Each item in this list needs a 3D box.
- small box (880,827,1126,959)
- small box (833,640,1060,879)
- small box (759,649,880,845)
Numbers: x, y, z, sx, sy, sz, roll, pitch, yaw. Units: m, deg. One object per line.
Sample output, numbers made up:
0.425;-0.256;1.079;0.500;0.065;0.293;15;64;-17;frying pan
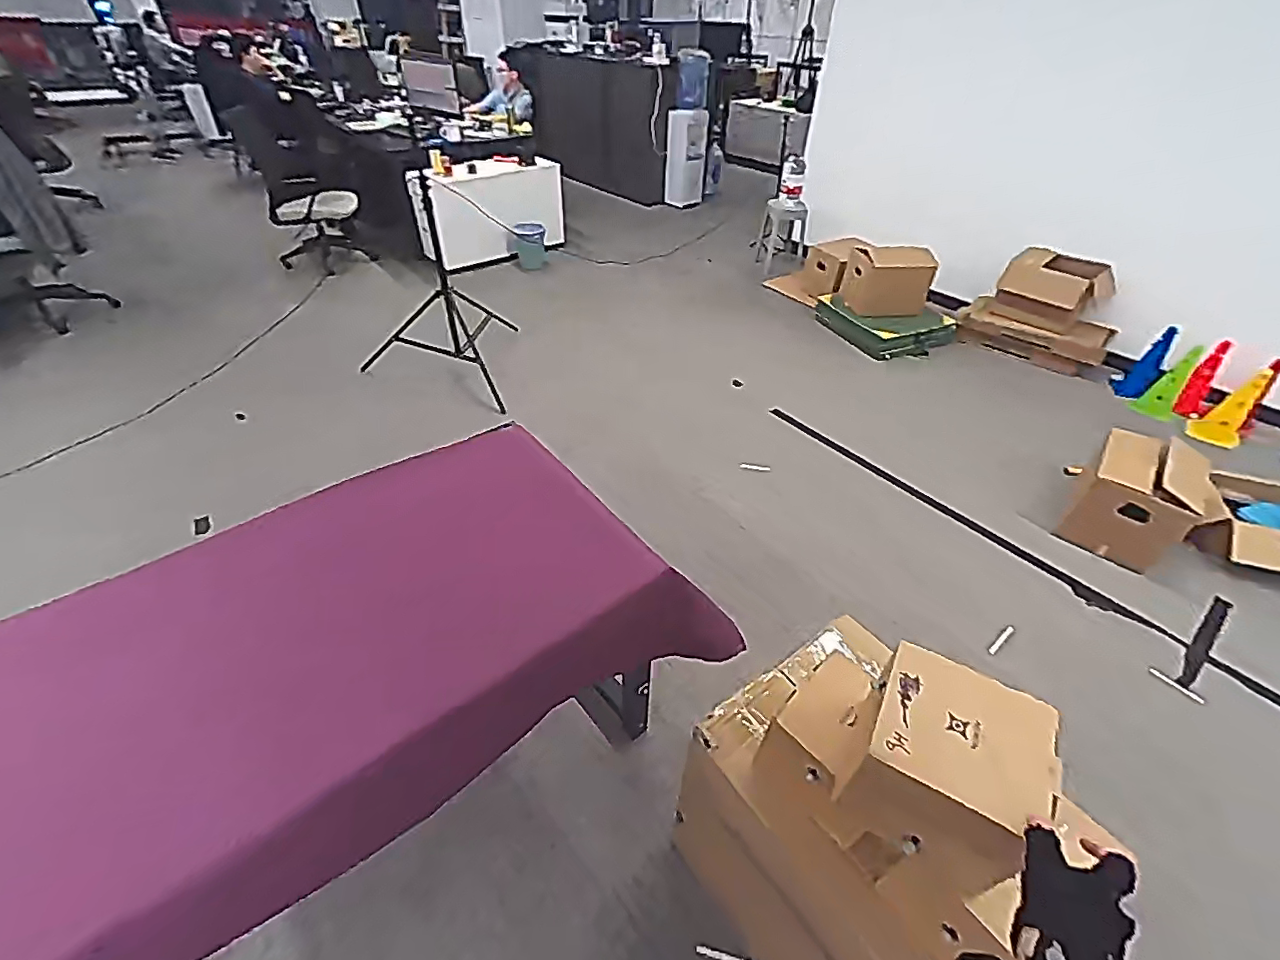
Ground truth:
0.442;0.518;0.684;0.168;0.176;0.179;-26;46;-28;small box
0.357;0.334;0.646;0.179;0.176;0.168;23;45;23;small box
0.303;0.402;0.816;0.168;0.176;0.179;-31;52;-30;small box
